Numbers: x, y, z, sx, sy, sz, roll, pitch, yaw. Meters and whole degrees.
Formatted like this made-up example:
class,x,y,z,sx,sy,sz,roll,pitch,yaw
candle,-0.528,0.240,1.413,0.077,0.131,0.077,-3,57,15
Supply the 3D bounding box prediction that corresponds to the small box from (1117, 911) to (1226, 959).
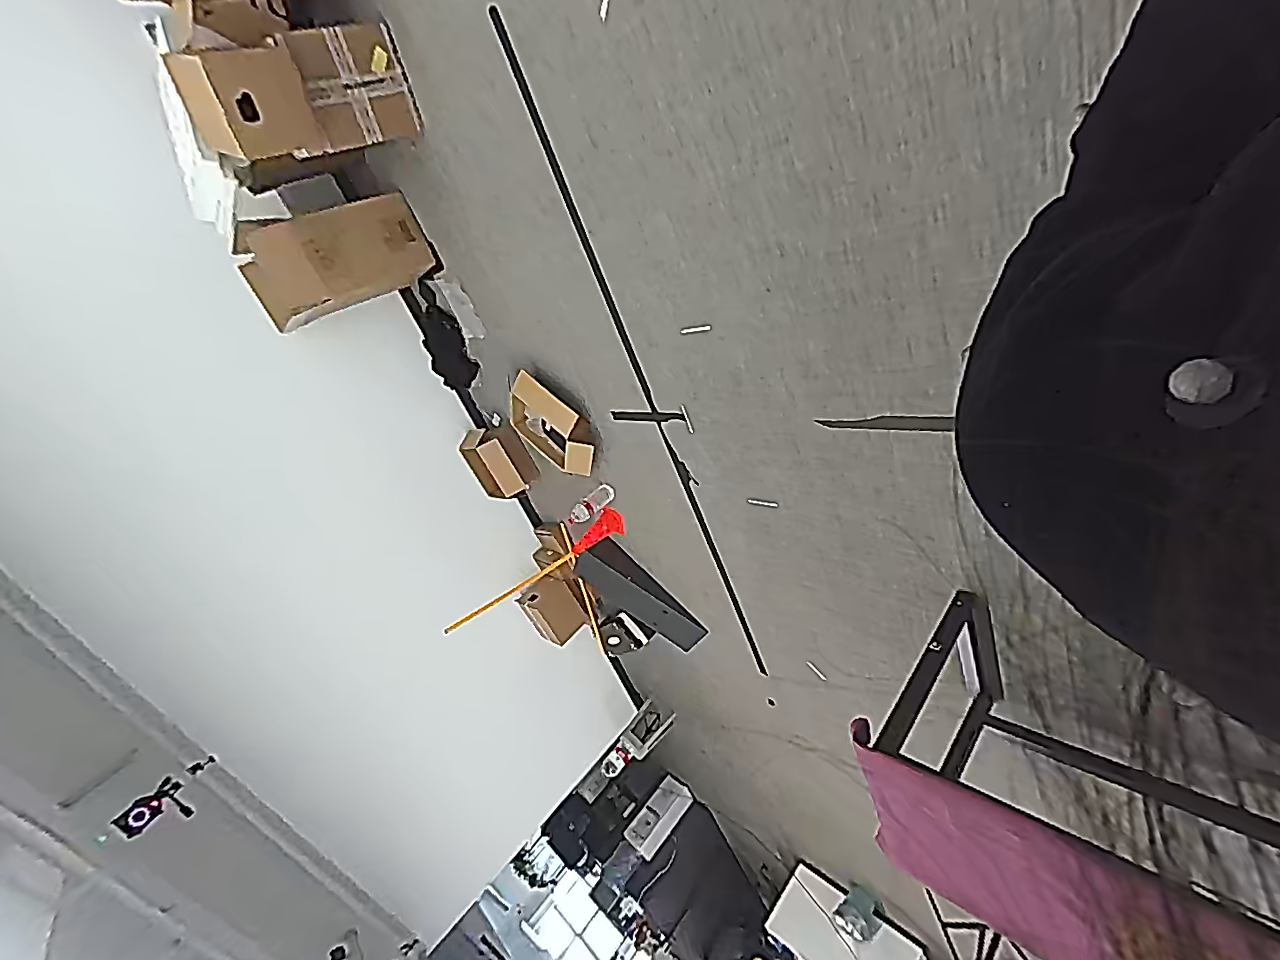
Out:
class,x,y,z,sx,sy,sz,roll,pitch,yaw
small box,1.046,1.011,1.060,0.168,0.176,0.179,10,132,47
